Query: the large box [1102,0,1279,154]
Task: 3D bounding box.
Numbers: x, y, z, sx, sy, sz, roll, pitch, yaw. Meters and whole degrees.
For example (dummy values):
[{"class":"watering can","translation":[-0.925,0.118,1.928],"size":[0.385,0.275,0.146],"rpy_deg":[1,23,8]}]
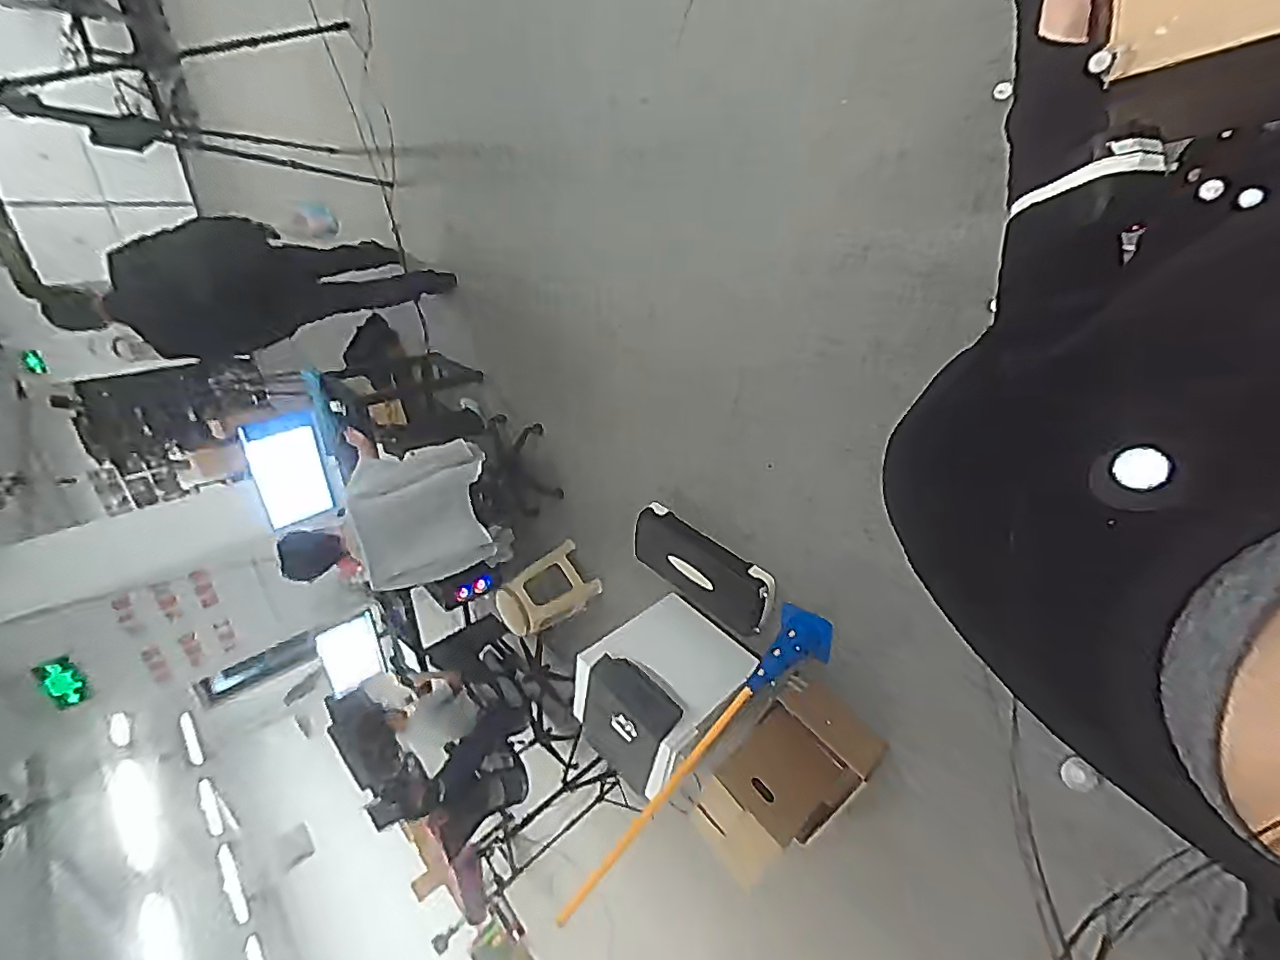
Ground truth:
[{"class":"large box","translation":[0.554,-0.438,0.316],"size":[0.408,0.320,0.320],"rpy_deg":[7,110,41]}]
